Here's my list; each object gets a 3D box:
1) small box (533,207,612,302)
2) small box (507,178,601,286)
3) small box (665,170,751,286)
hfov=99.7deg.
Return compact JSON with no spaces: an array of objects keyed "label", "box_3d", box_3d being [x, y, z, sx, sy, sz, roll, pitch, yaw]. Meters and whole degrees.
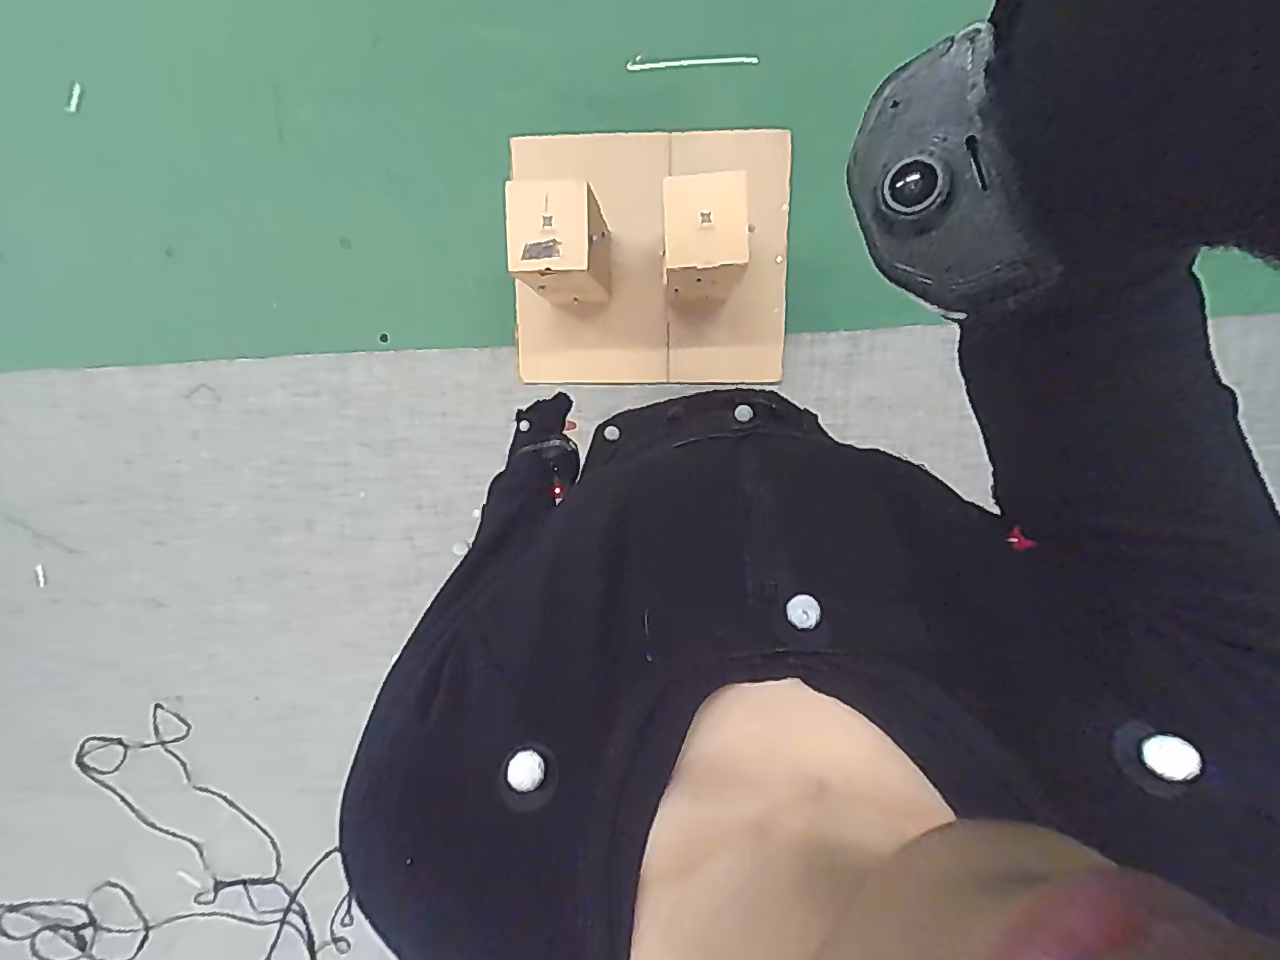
[{"label":"small box","box_3d":[-0.161,-0.537,1.304,0.168,0.176,0.179,-1,99,5]},{"label":"small box","box_3d":[-0.174,-0.513,1.143,0.168,0.176,0.179,1,98,4]},{"label":"small box","box_3d":[0.136,-0.515,1.125,0.168,0.176,0.179,-3,99,4]}]
